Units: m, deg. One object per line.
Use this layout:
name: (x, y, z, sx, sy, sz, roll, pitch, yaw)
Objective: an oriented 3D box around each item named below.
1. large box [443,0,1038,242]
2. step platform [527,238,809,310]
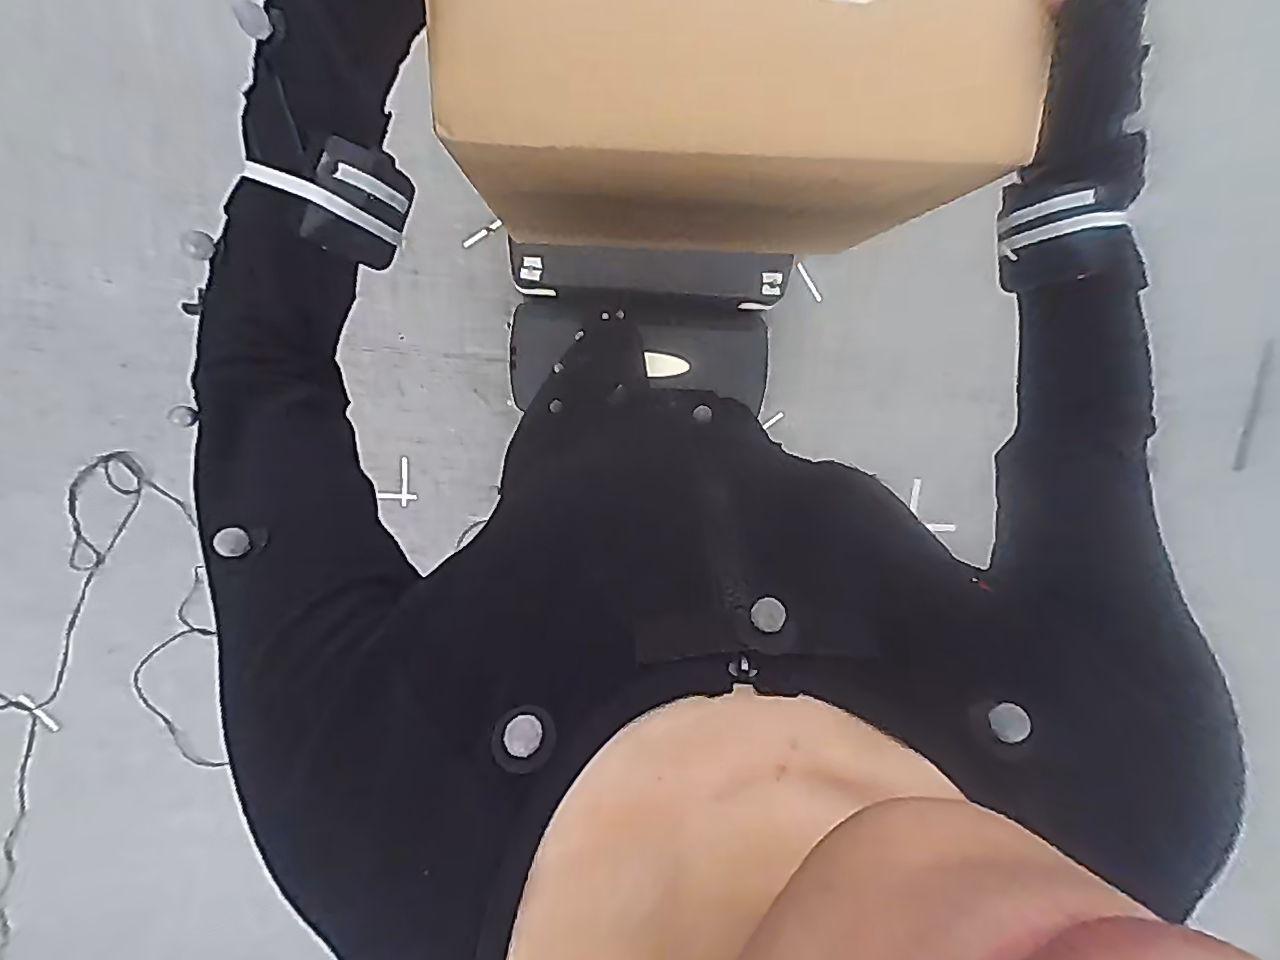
large box: (0.059, -0.411, 0.485, 0.408, 0.320, 0.320, -1, 103, -4)
step platform: (0.066, -0.591, 1.336, 0.684, 0.204, 0.286, 1, 100, -5)
